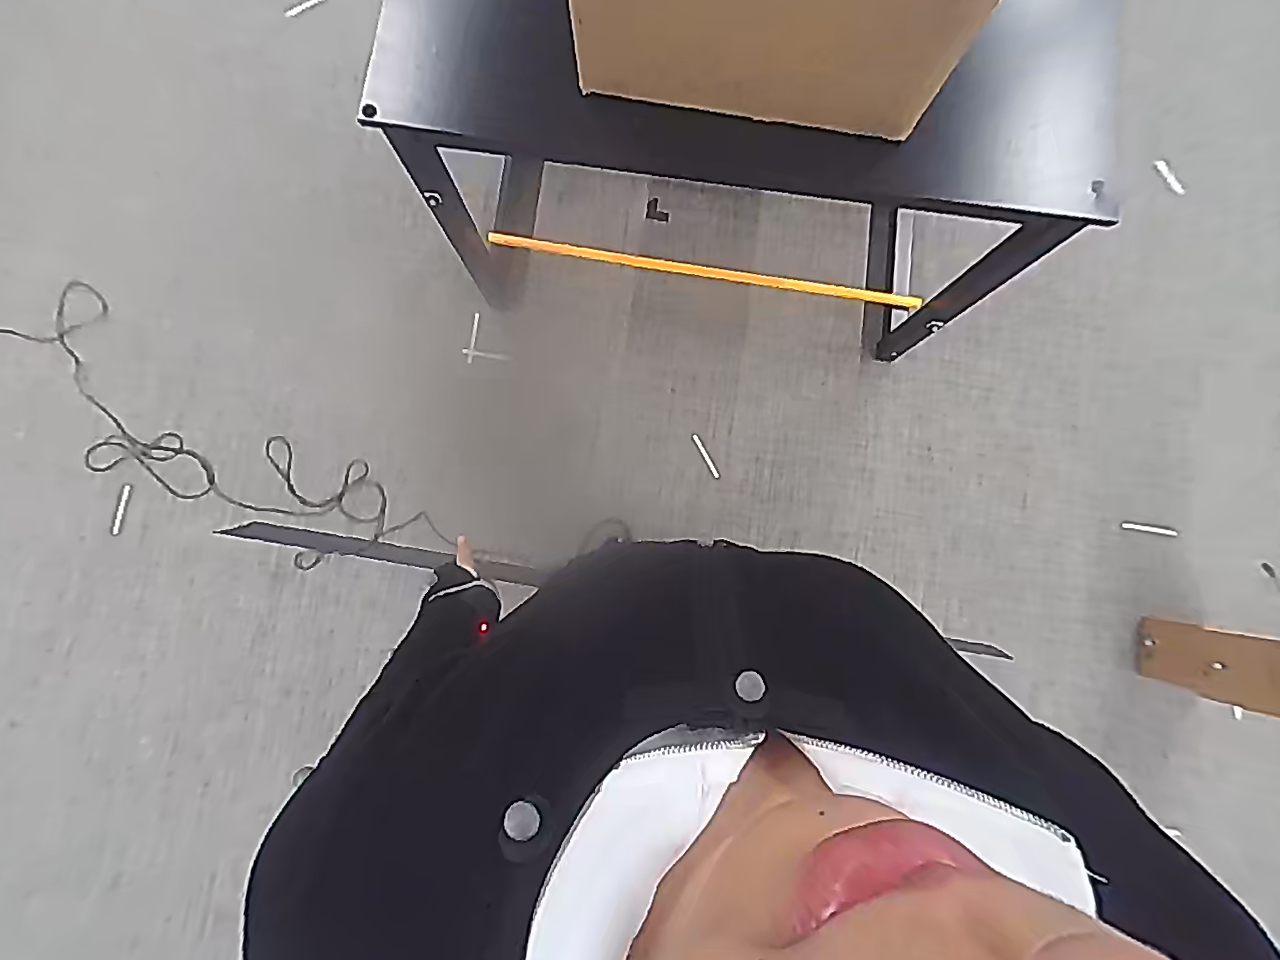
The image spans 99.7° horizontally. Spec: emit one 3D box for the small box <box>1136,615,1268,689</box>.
[{"bbox_3d":[1.467,0.456,1.416,0.179,0.176,0.168,8,83,1],"label":"small box"}]

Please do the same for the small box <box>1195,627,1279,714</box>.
[{"bbox_3d":[1.459,0.445,1.251,0.179,0.176,0.168,9,83,0],"label":"small box"}]

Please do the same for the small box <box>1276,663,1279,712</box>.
[{"bbox_3d":[1.459,0.426,1.089,0.179,0.176,0.168,9,83,1],"label":"small box"}]
